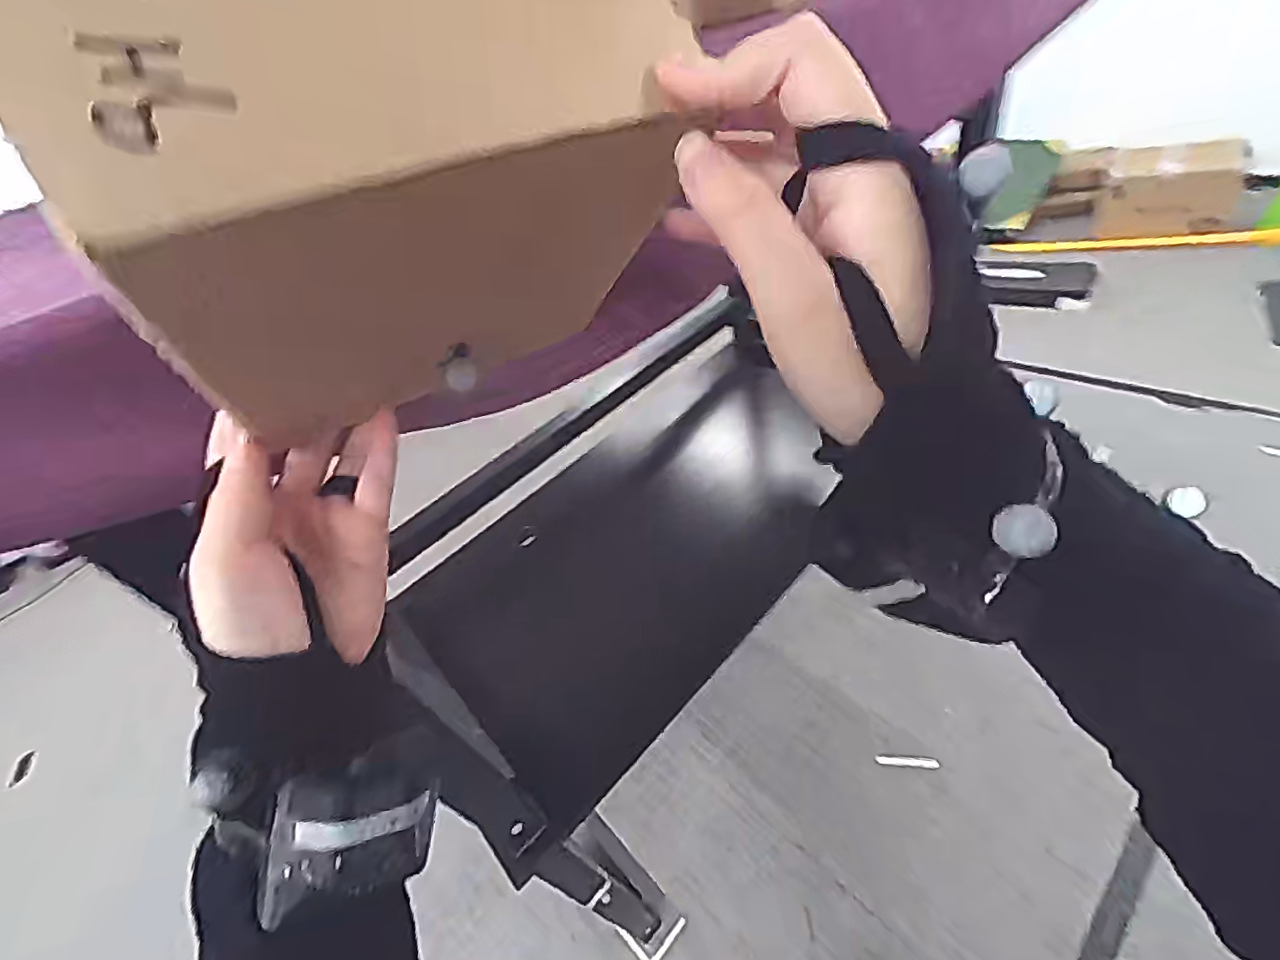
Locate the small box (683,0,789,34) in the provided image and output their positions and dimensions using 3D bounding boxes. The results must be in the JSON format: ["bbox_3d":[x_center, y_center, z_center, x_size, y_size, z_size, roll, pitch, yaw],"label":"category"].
[{"bbox_3d":[0.100,-0.568,0.531,0.168,0.176,0.179,-40,45,-23],"label":"small box"}]

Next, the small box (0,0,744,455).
[{"bbox_3d":[-0.103,-0.128,0.200,0.179,0.168,0.176,-31,4,-27],"label":"small box"}]
